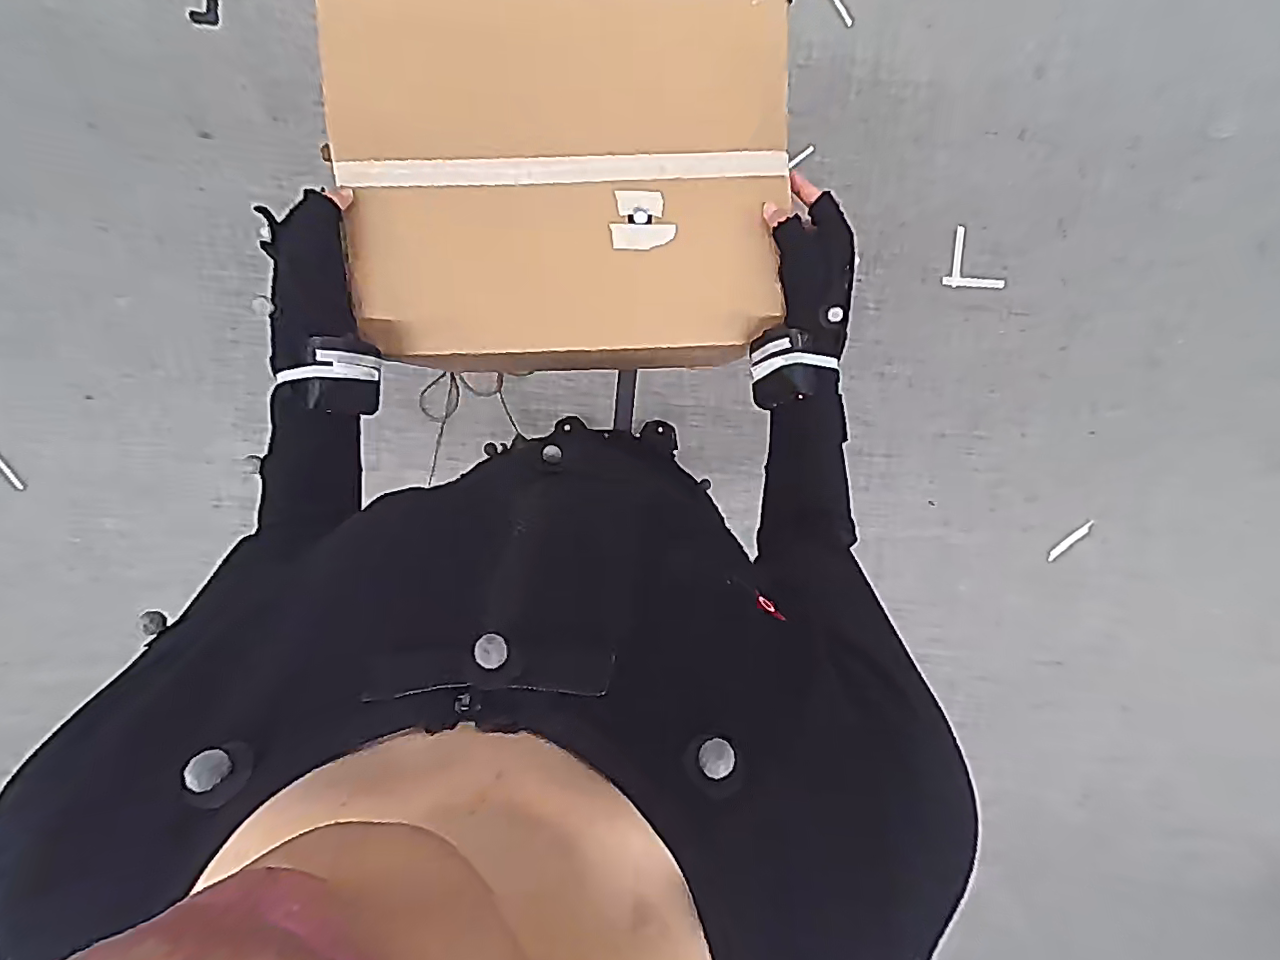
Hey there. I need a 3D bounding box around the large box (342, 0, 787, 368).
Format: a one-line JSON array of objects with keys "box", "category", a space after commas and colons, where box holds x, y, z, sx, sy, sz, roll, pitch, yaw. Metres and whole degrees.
[{"box": [-0.068, -0.310, 0.652, 0.408, 0.320, 0.320, -3, 99, -3], "category": "large box"}]
